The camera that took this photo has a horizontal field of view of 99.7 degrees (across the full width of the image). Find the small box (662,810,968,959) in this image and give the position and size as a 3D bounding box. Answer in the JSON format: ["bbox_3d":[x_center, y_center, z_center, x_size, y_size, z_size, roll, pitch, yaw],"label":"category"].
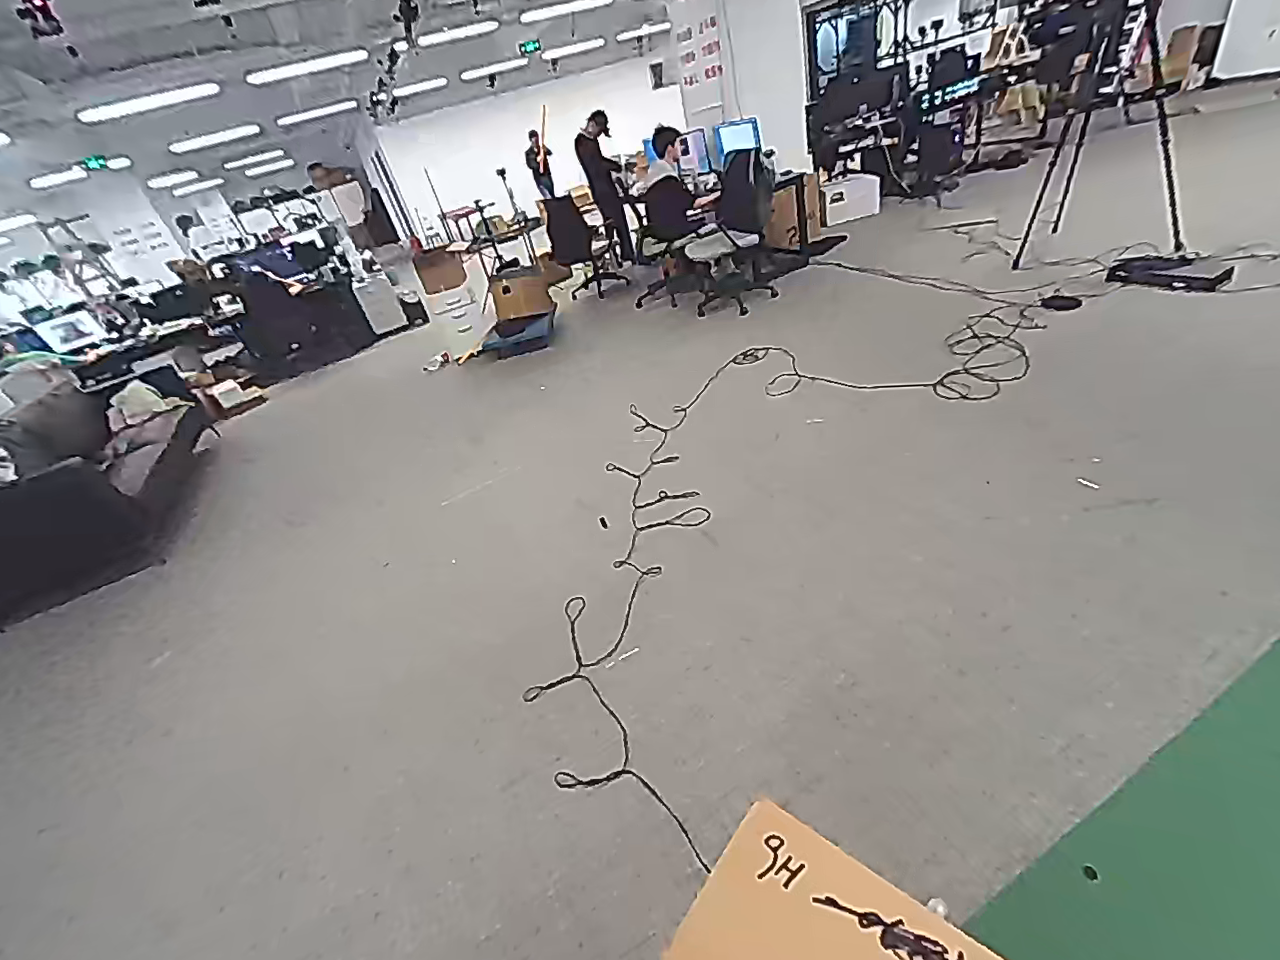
[{"bbox_3d":[0.096,0.334,0.285,0.168,0.176,0.179,17,47,39],"label":"small box"}]
